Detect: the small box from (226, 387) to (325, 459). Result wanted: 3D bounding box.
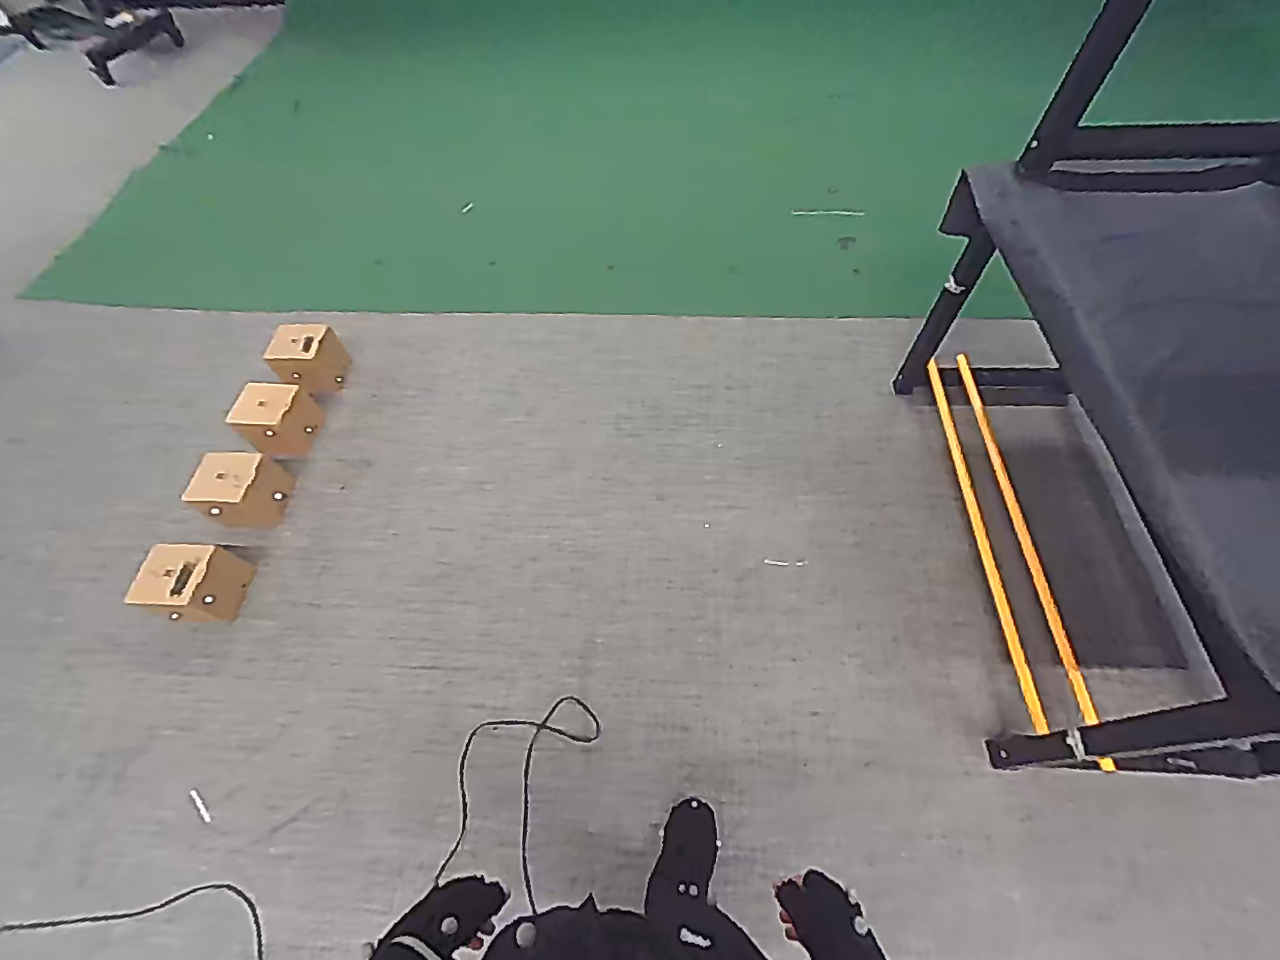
[{"bbox_3d":[-1.174,-0.182,1.756,0.179,0.176,0.168,3,58,4],"label":"small box"}]

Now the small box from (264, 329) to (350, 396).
[{"bbox_3d":[-1.159,-0.410,1.898,0.179,0.176,0.168,0,58,3],"label":"small box"}]

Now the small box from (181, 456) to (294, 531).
[{"bbox_3d":[-1.189,0.043,1.612,0.179,0.176,0.168,2,59,2],"label":"small box"}]
